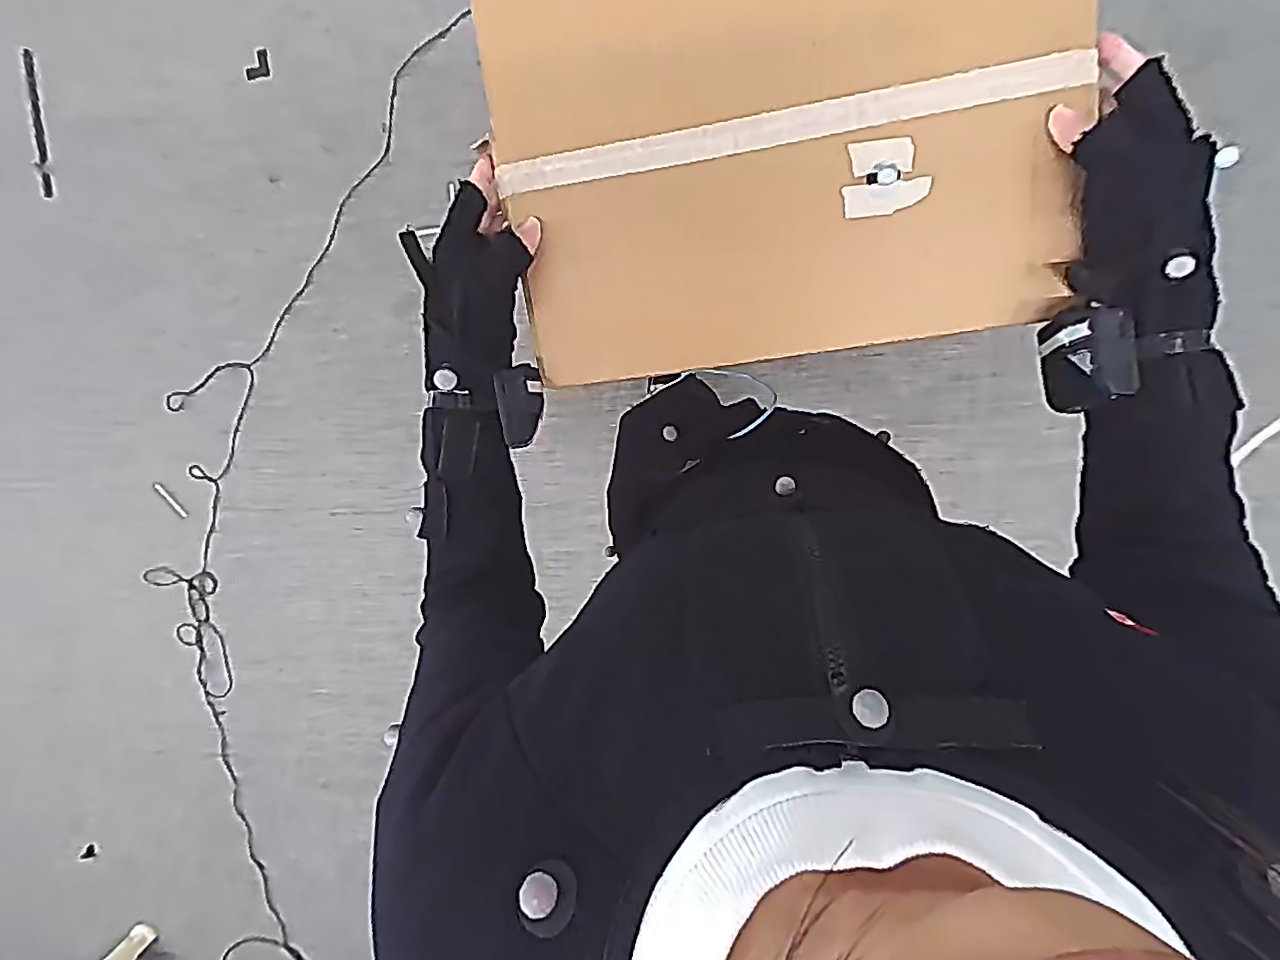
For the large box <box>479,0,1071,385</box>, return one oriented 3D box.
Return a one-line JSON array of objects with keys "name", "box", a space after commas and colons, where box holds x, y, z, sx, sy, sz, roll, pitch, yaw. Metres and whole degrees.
[{"name": "large box", "box": [0.109, -0.286, 0.539, 0.408, 0.320, 0.320, -7, 104, 7]}]
